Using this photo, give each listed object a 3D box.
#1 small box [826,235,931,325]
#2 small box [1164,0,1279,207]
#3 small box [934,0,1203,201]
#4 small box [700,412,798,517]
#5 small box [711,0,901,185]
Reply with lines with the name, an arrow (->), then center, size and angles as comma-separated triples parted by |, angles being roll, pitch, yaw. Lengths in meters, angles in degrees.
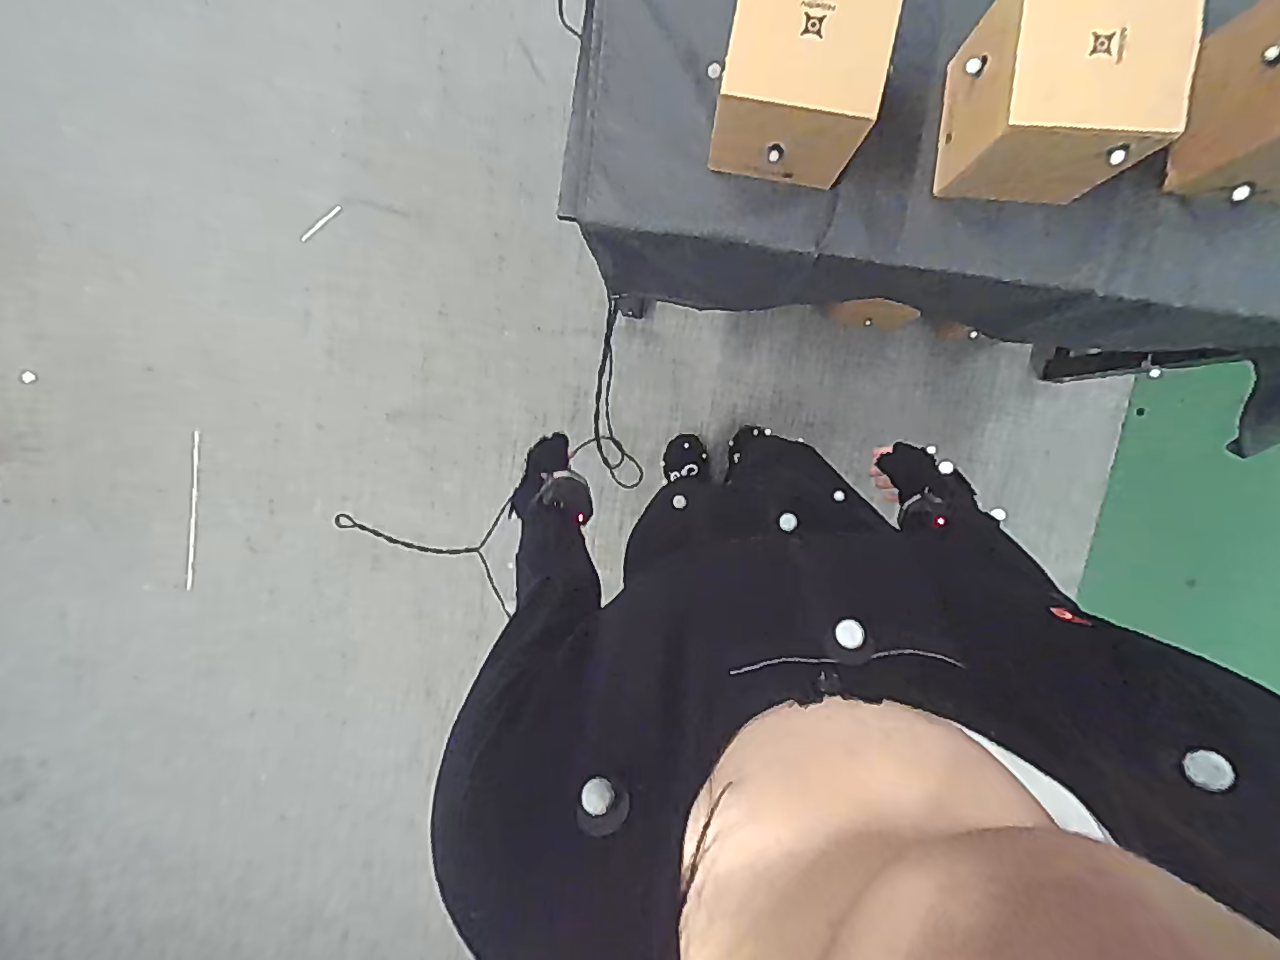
small box -> 0.581, -0.486, 1.336 | 0.179, 0.176, 0.168 | 7, 96, 3
small box -> 0.749, -0.433, 0.601 | 0.168, 0.176, 0.179 | 7, 96, 3
small box -> 0.467, -0.438, 0.618 | 0.179, 0.176, 0.168 | 4, 96, 3
small box -> 0.271, -0.039, 1.395 | 0.179, 0.176, 0.168 | -29, 60, -18
small box -> 0.180, -0.473, 0.626 | 0.168, 0.176, 0.179 | 11, 96, 1
